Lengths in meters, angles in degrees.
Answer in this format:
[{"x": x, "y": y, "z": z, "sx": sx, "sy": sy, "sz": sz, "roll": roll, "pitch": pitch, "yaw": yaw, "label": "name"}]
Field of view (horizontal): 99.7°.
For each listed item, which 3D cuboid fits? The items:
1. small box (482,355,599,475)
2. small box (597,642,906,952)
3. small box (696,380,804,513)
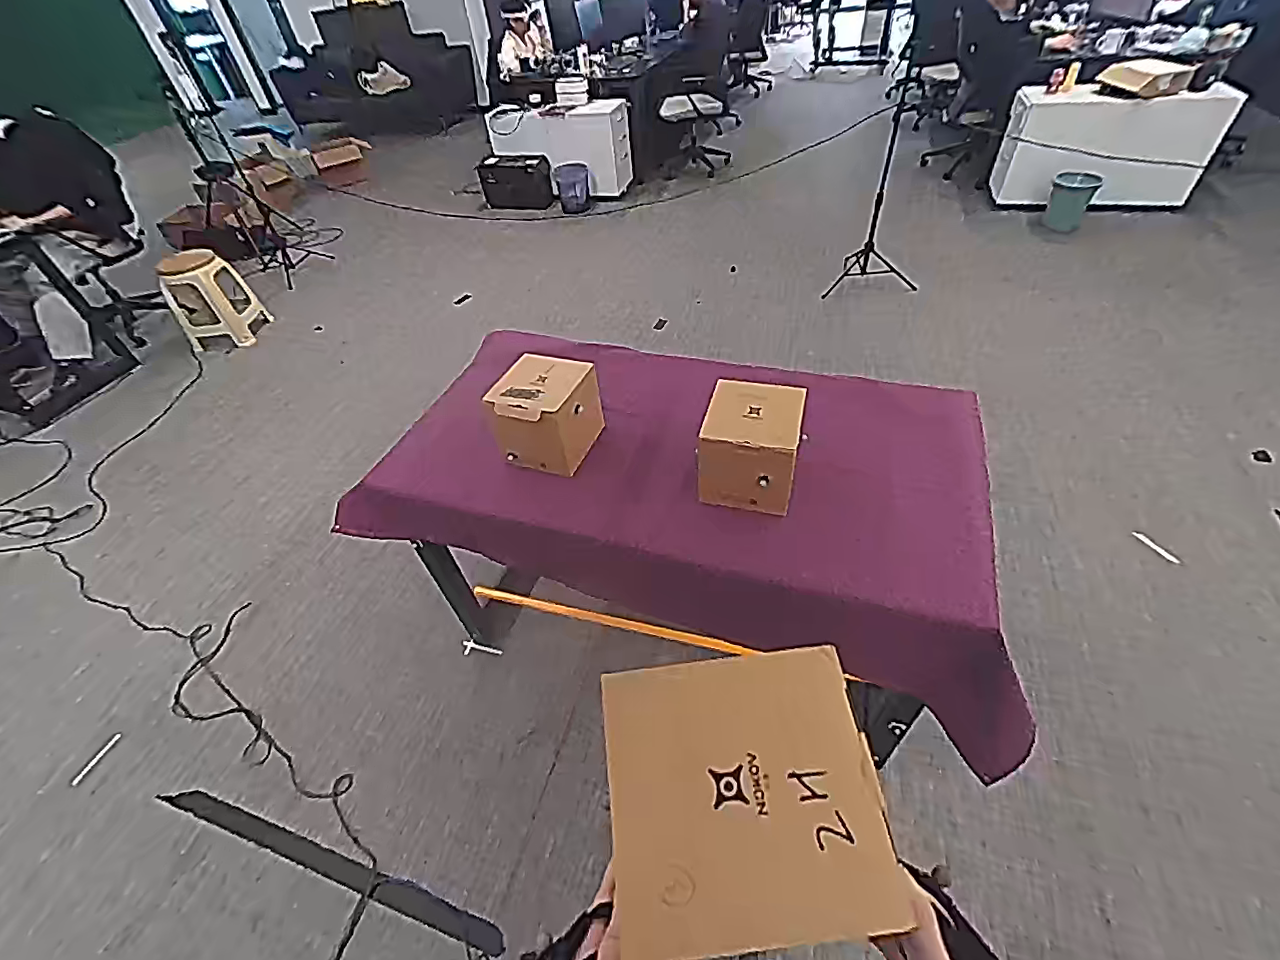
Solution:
[{"x": -0.195, "y": -0.135, "z": 1.129, "sx": 0.168, "sy": 0.176, "sz": 0.179, "roll": 12, "pitch": 48, "yaw": 18, "label": "small box"}, {"x": 0.067, "y": 0.240, "z": 0.423, "sx": 0.179, "sy": 0.176, "sz": 0.168, "roll": -7, "pitch": 58, "yaw": -1, "label": "small box"}, {"x": 0.205, "y": -0.061, "z": 1.011, "sx": 0.168, "sy": 0.176, "sz": 0.179, "roll": 10, "pitch": 47, "yaw": 15, "label": "small box"}]
